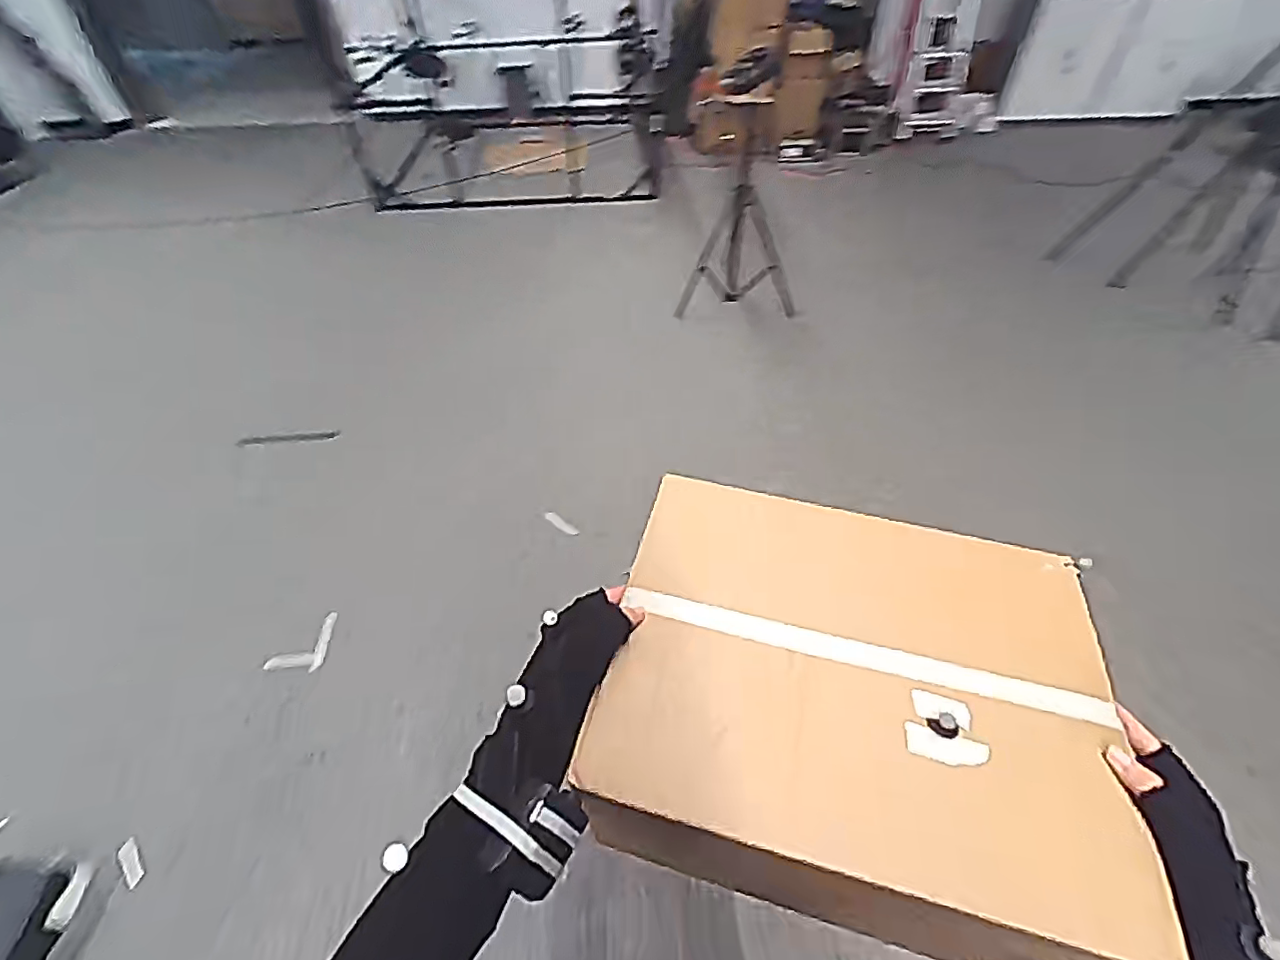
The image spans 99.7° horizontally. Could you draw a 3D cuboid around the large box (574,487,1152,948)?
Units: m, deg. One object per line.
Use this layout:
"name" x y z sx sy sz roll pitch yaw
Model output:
"large box" 0.172 0.249 0.584 0.408 0.320 0.320 11 50 9
